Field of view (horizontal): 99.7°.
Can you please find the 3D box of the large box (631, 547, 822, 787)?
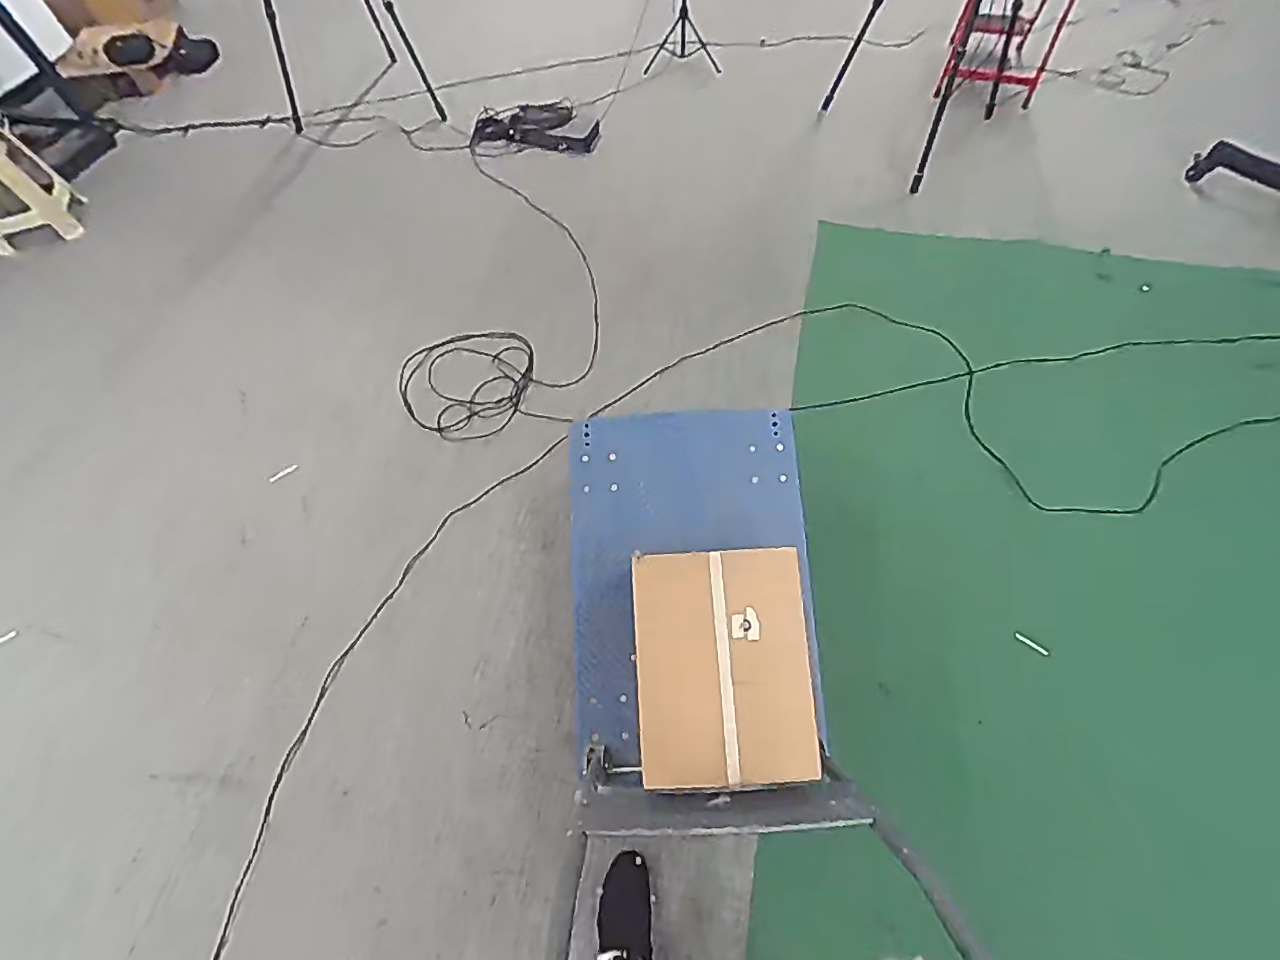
[{"bbox_3d":[0.156,0.364,1.127,0.320,0.320,0.408,-4,78,0],"label":"large box"}]
